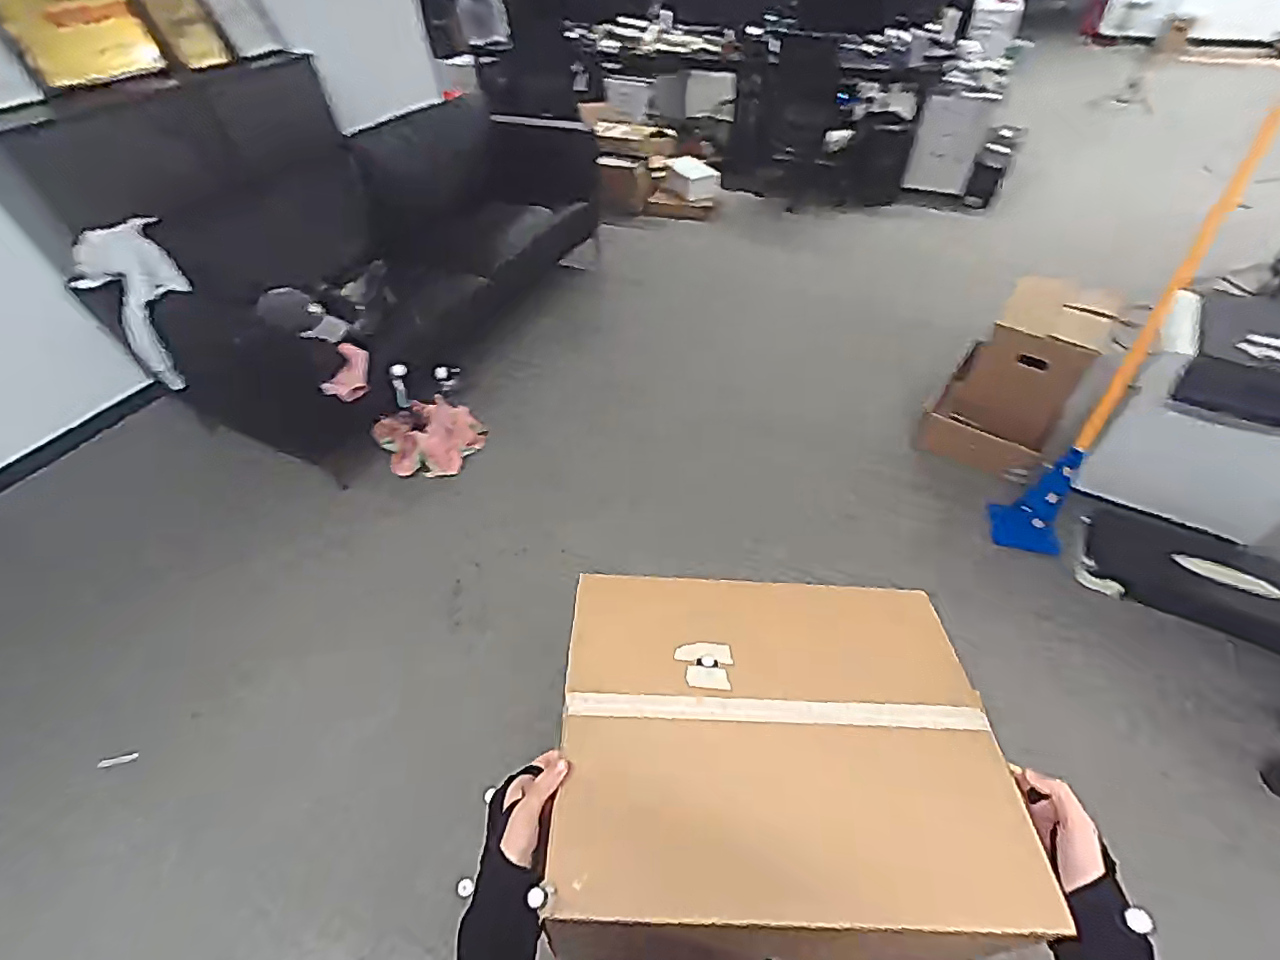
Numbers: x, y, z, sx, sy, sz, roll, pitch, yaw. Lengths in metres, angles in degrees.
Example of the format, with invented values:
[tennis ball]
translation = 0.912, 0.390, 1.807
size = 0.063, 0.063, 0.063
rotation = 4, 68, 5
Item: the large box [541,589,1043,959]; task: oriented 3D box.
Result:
[large box]
translation = 0.116, 0.342, 0.625
size = 0.408, 0.320, 0.320
rotation = 2, 43, -2
